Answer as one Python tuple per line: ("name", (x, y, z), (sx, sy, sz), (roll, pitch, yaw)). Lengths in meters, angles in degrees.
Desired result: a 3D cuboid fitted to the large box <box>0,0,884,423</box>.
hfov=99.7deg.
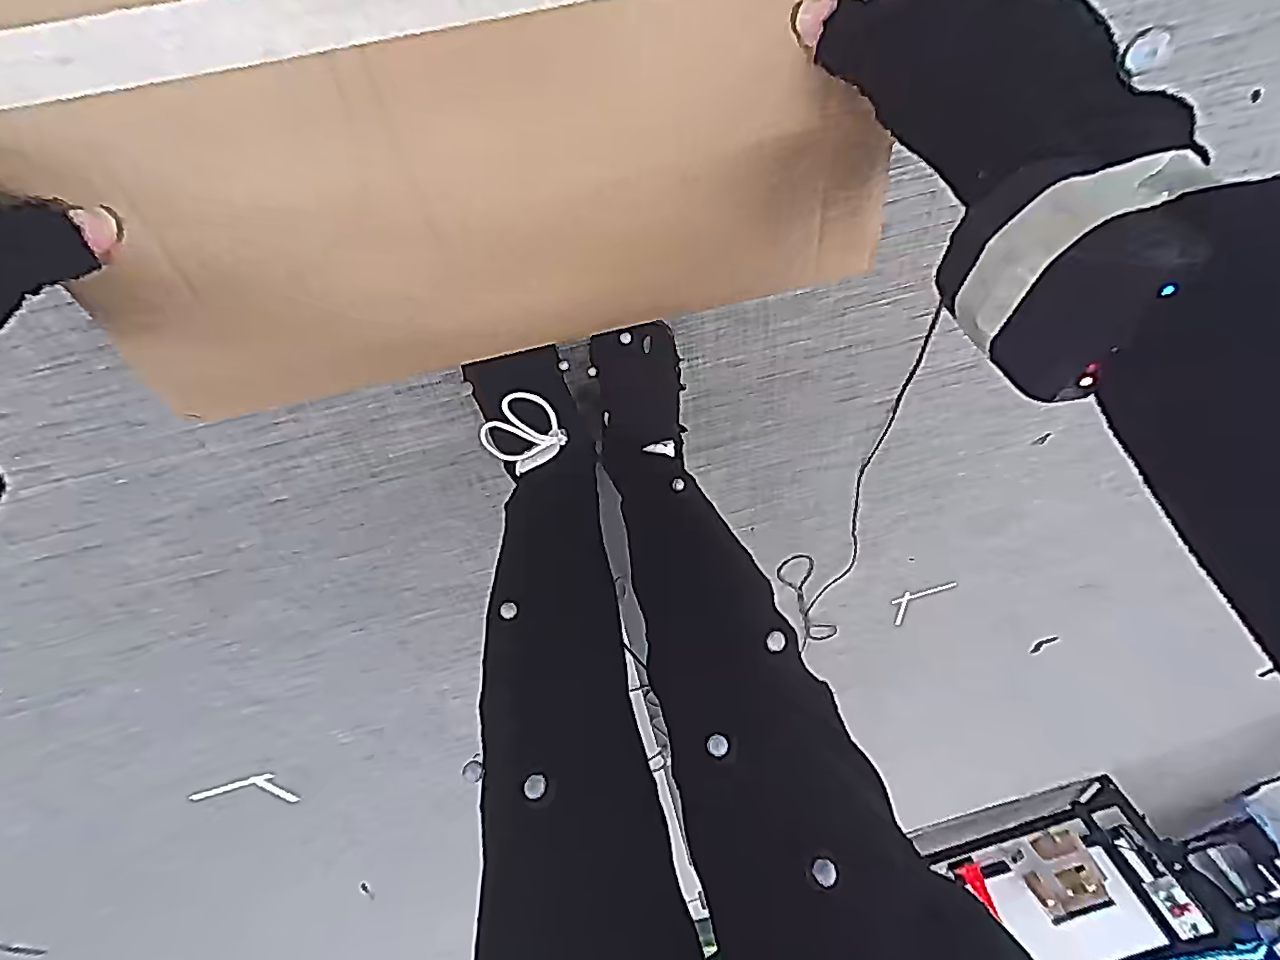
("large box", (-0.111, -0.288, 0.331), (0.408, 0.320, 0.320), (-14, 132, -4))
